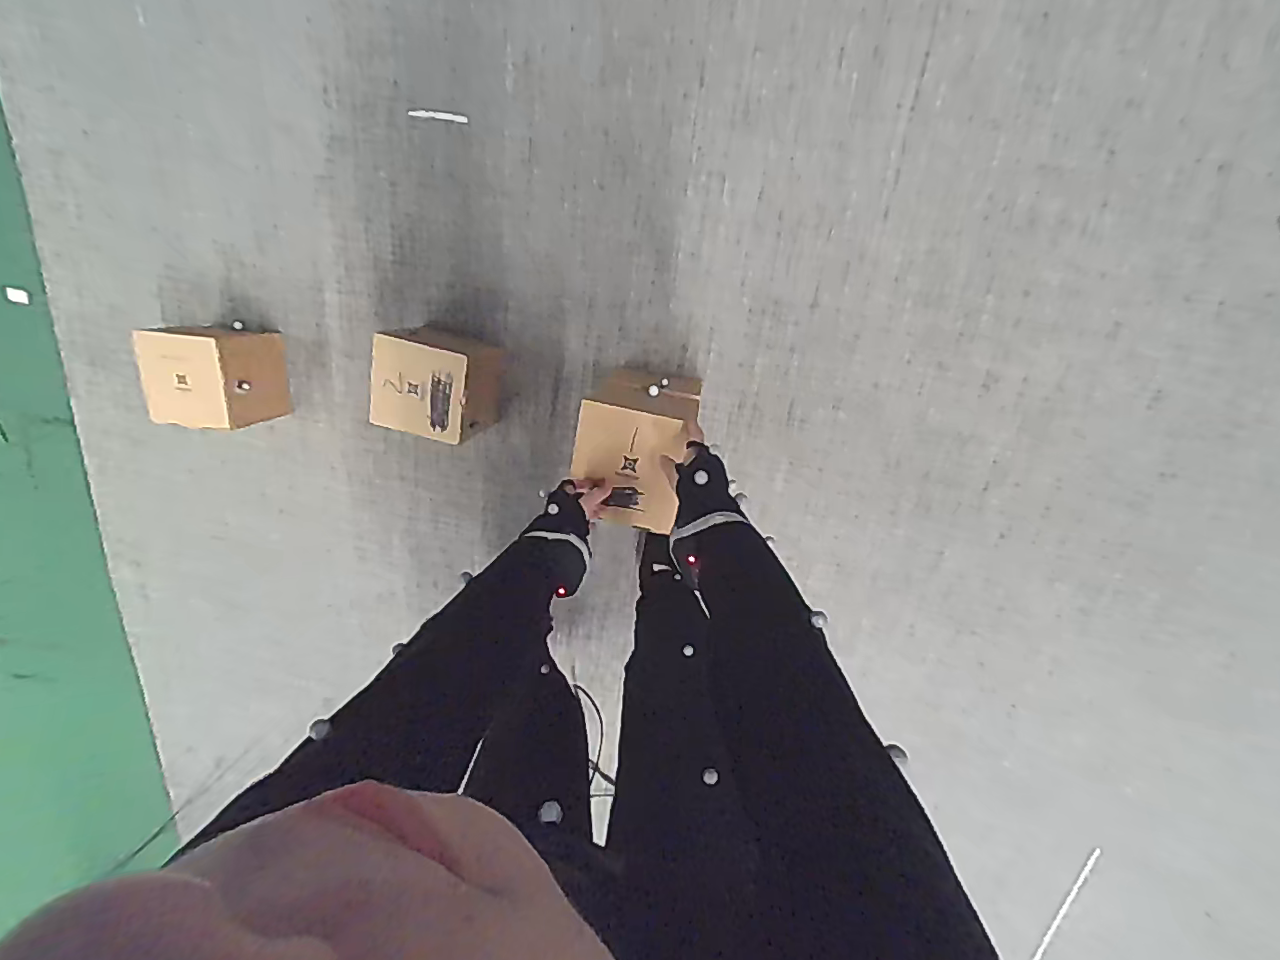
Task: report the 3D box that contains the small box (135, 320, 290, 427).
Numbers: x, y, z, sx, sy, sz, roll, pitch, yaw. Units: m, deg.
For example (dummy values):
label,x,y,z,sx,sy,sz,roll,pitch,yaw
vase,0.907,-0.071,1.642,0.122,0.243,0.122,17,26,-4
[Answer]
label,x,y,z,sx,sy,sz,roll,pitch,yaw
small box,-0.834,-0.218,1.077,0.168,0.176,0.179,8,110,4

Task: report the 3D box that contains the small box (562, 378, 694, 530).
label,x,y,z,sx,sy,sz,roll,pitch,yaw
small box,-0.011,-0.049,0.848,0.168,0.176,0.179,13,110,3

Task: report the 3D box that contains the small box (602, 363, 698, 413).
label,x,y,z,sx,sy,sz,roll,pitch,yaw
small box,0.012,-0.107,1.000,0.168,0.176,0.179,11,111,3
